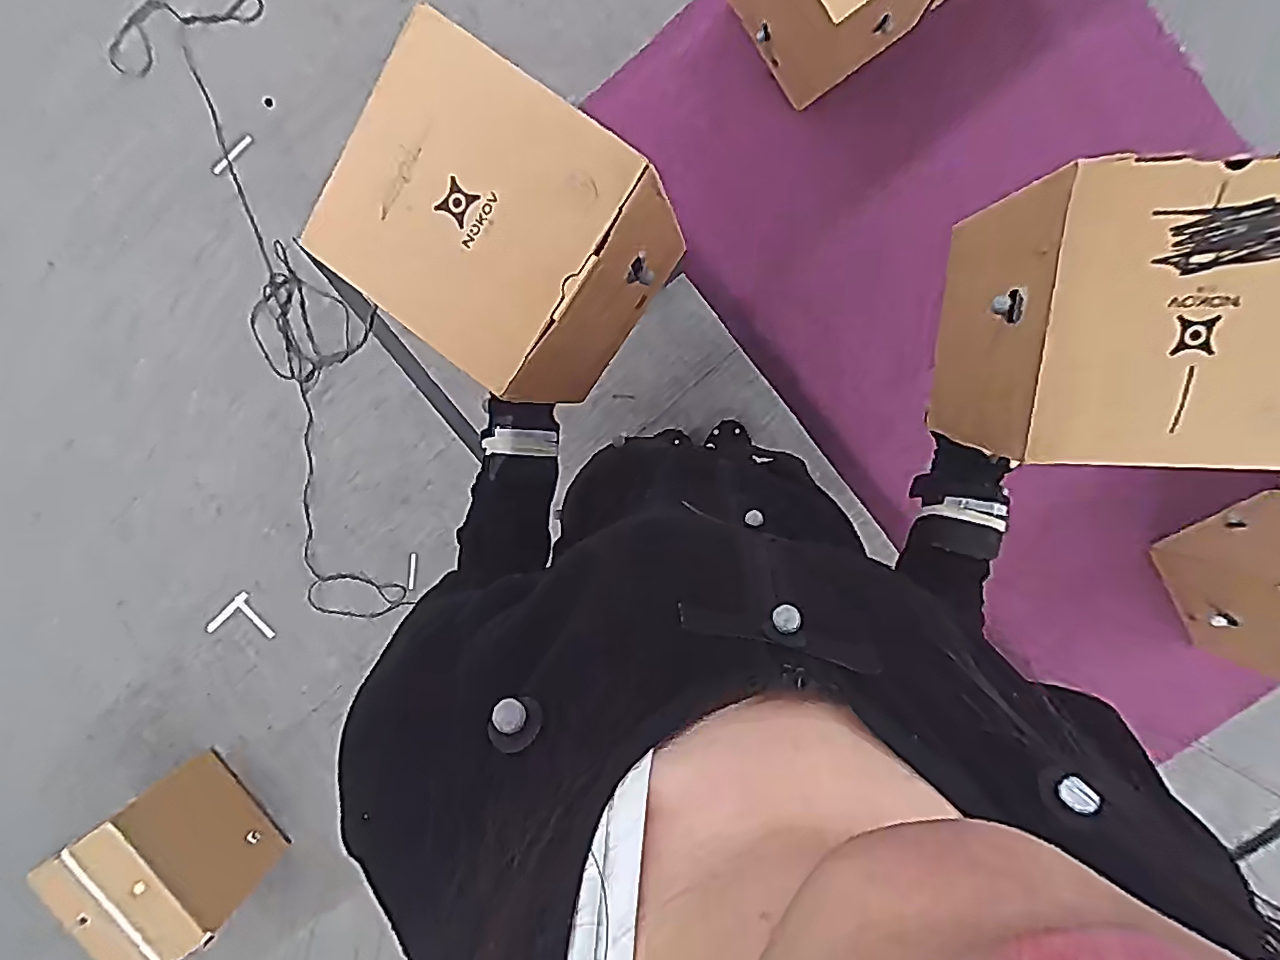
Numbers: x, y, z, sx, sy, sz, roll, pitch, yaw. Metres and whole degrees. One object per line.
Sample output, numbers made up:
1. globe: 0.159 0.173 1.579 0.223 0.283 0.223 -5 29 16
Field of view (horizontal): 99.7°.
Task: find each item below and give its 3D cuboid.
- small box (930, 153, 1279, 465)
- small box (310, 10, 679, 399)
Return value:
1. small box: 0.336 -0.114 0.396 0.168 0.176 0.179 2 104 7
2. small box: -0.088 -0.177 0.409 0.179 0.176 0.168 37 102 5
